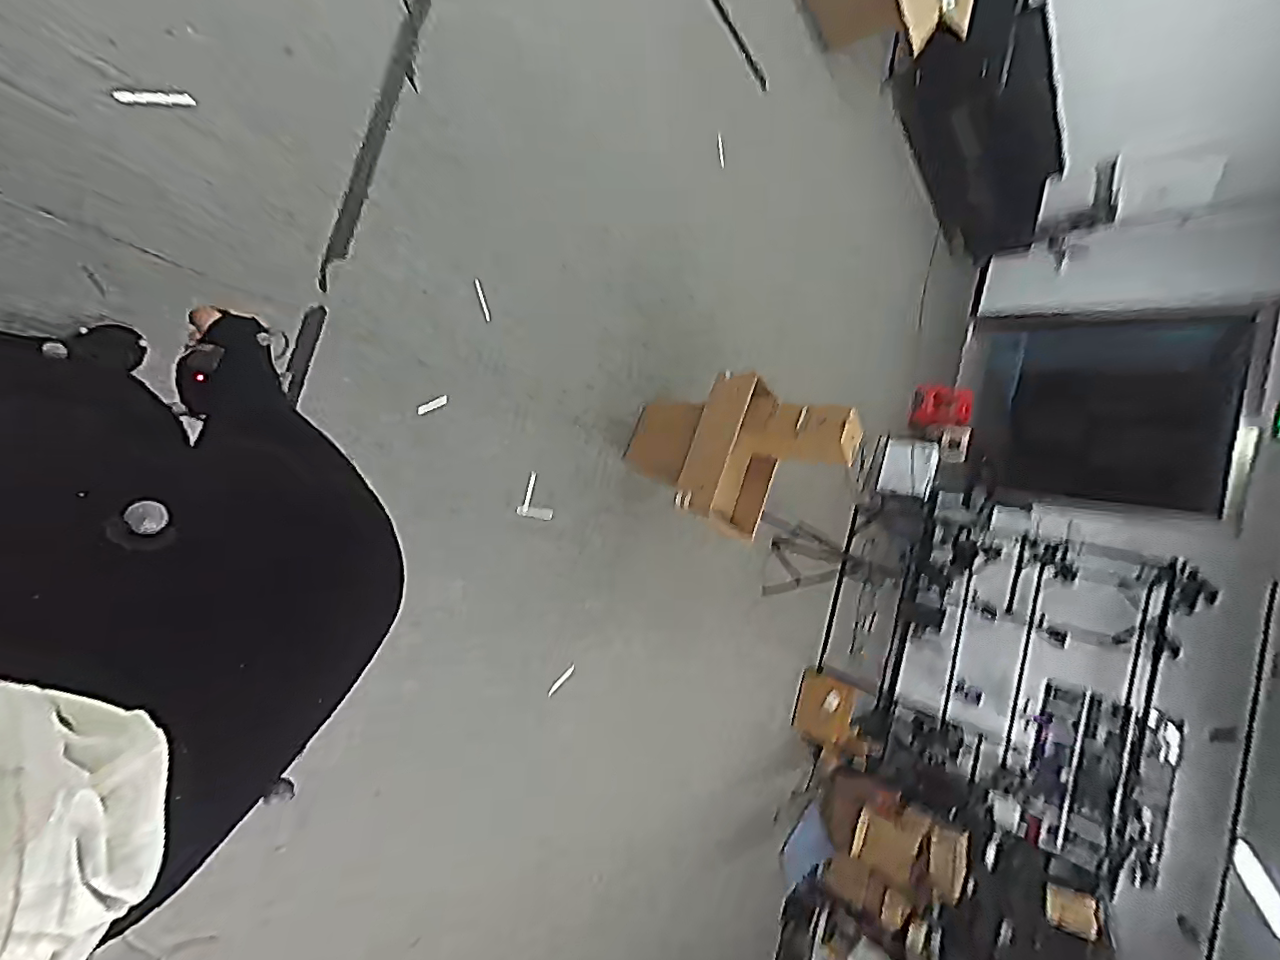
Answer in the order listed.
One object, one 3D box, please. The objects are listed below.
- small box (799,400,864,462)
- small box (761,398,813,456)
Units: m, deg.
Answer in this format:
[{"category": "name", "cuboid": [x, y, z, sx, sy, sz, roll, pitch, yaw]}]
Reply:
[{"category": "small box", "cuboid": [0.724, -0.189, 2.051, 0.179, 0.176, 0.168, 47, 64, -43]}, {"category": "small box", "cuboid": [0.605, -0.213, 2.163, 0.179, 0.176, 0.168, 43, 67, -46]}]
